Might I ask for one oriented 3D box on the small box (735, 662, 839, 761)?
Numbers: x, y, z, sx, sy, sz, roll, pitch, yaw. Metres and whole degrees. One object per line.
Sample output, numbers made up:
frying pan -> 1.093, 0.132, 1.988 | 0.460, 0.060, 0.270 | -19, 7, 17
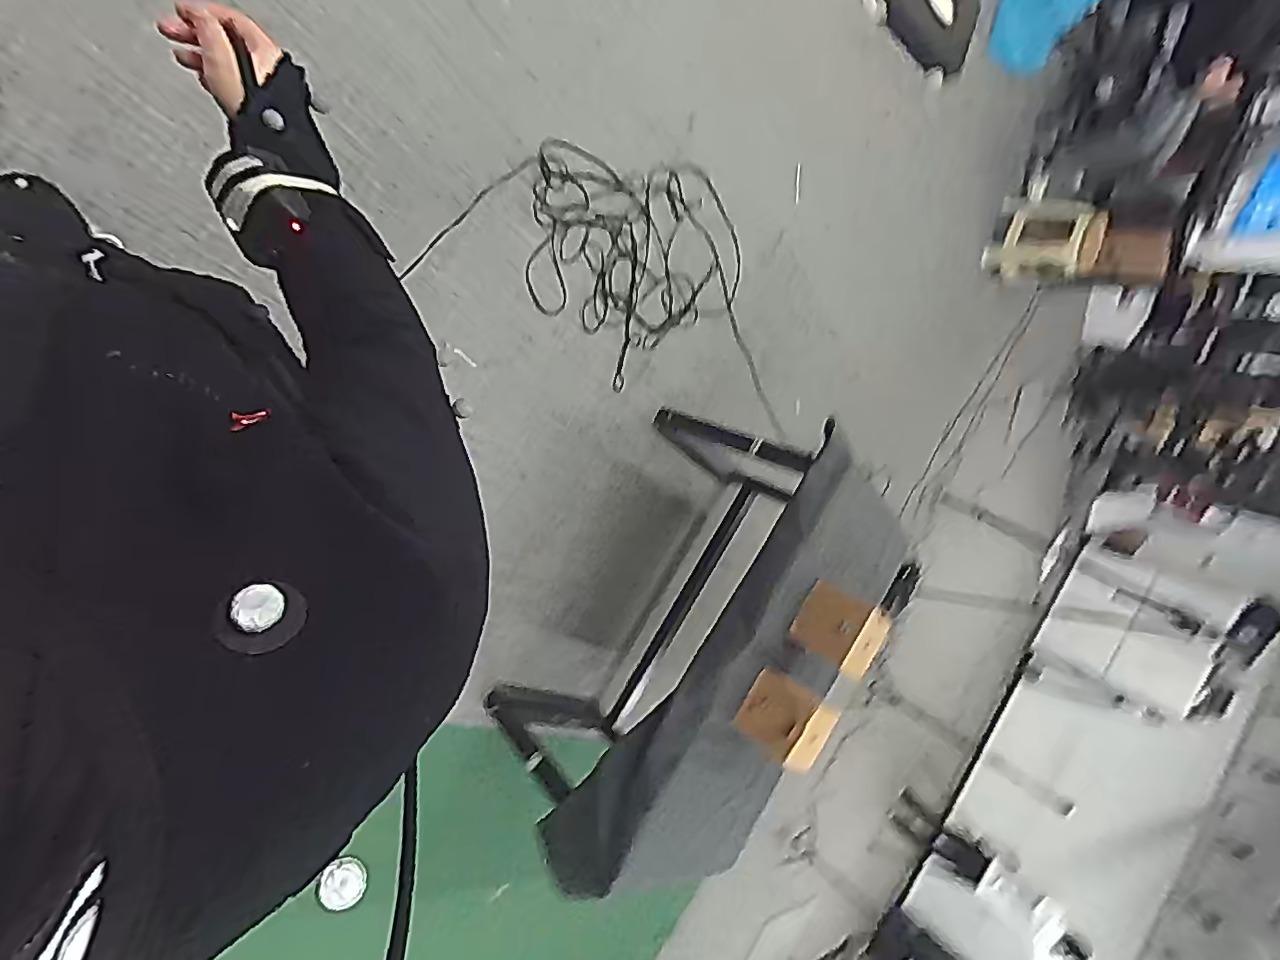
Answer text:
small box -> 0.381, 0.601, 1.410 | 0.179, 0.176, 0.168 | 37, 83, -44

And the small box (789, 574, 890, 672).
small box -> 0.526, 0.375, 1.435 | 0.168, 0.176, 0.179 | 37, 84, -44
